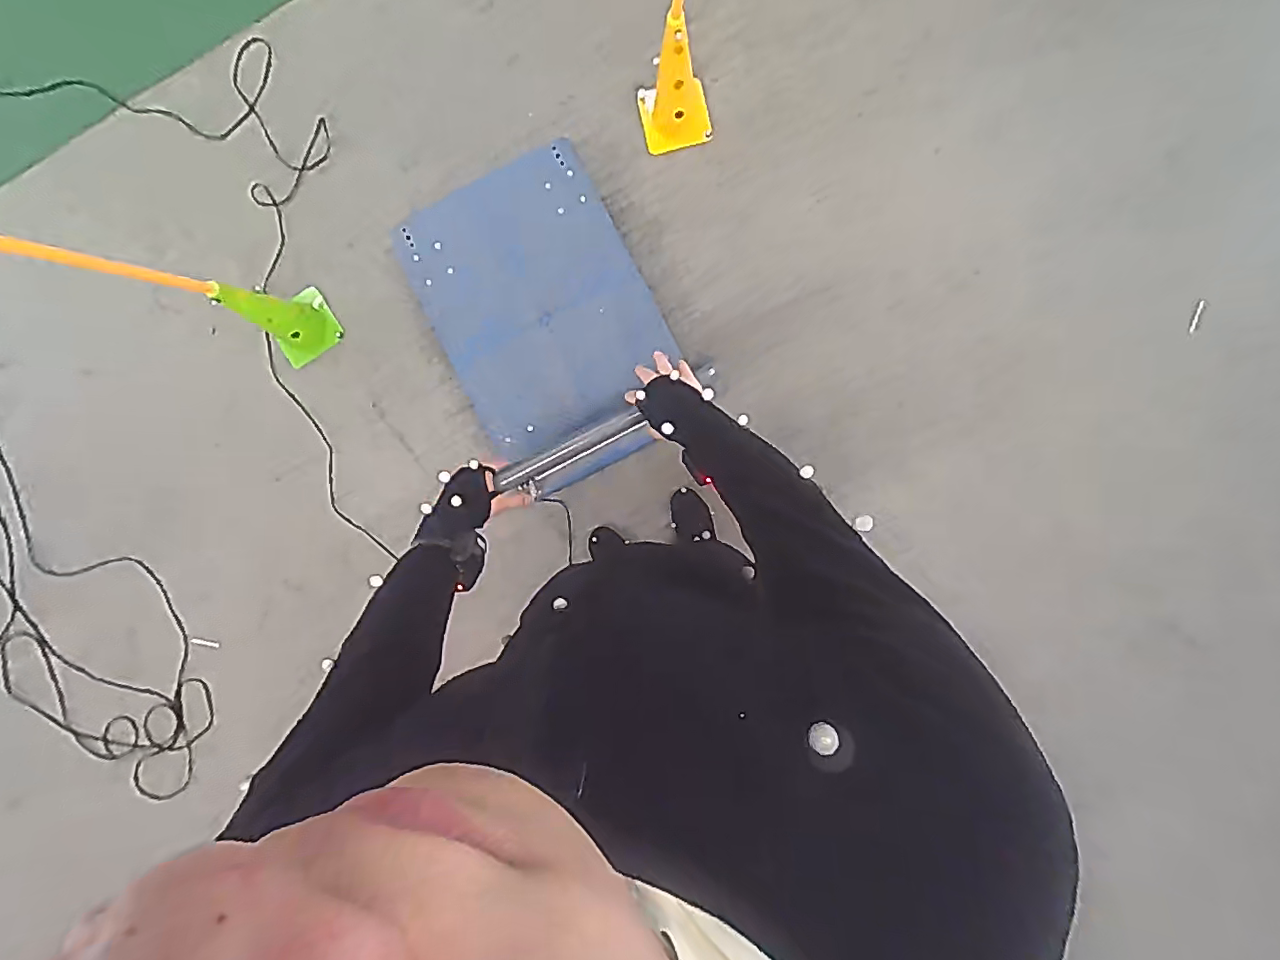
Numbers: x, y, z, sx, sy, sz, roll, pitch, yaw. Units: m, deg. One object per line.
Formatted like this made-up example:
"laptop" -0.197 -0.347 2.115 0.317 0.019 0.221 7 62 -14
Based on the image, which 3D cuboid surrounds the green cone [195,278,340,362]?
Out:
"green cone" -1.084 -0.499 1.538 0.202 0.368 0.200 -34 88 5
